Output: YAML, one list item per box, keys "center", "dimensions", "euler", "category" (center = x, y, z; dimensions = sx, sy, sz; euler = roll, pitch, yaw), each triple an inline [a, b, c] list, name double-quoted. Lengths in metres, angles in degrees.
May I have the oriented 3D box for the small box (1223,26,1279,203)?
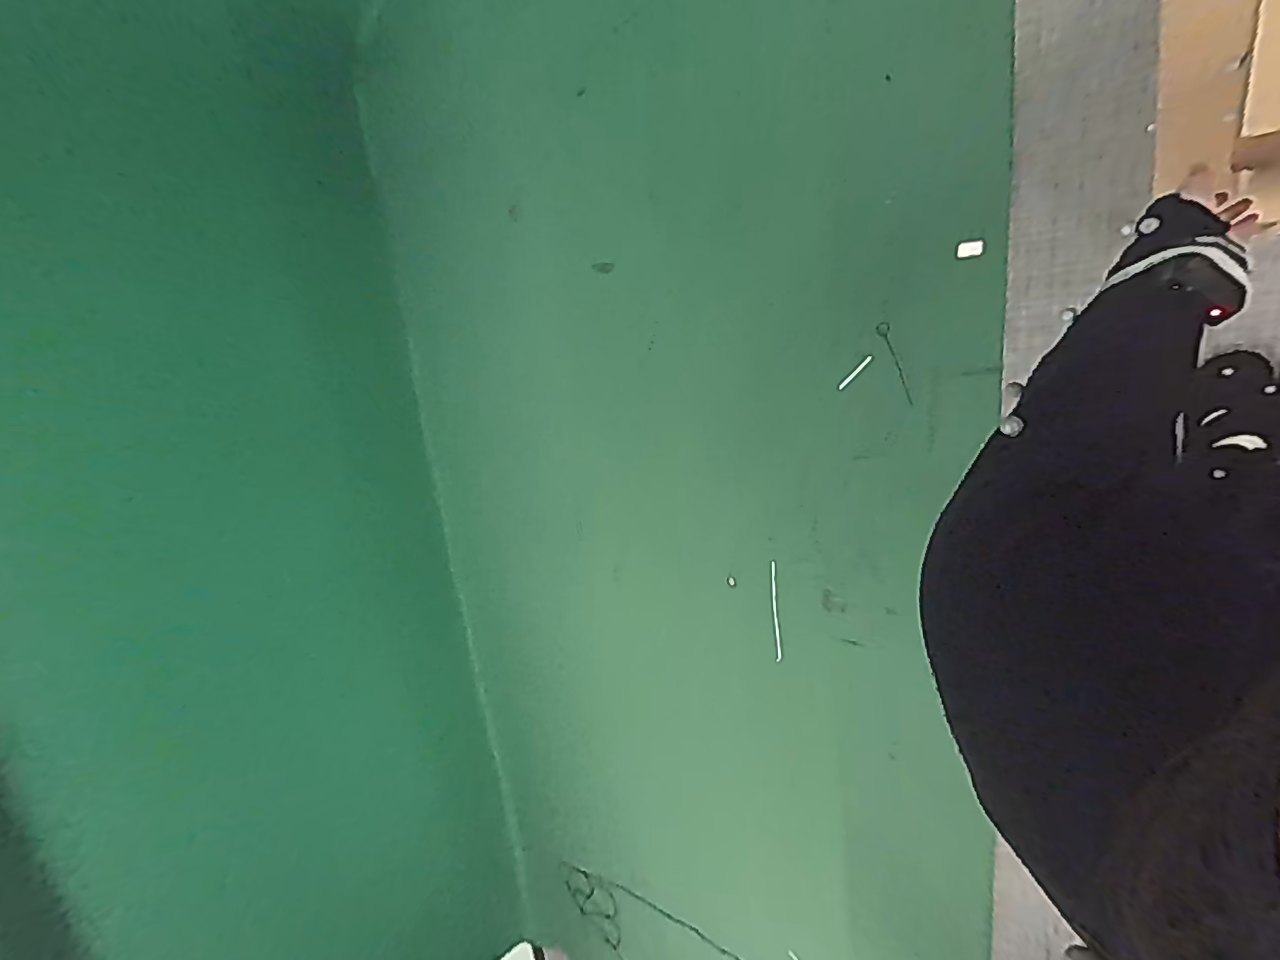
- center: [0.809, -0.437, 0.628]
  dimensions: [0.168, 0.176, 0.179]
  euler: [6, 107, 44]
  category: "small box"

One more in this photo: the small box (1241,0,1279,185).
- center: [0.702, -0.396, 0.510]
  dimensions: [0.168, 0.176, 0.179]
  euler: [6, 107, 43]
  category: "small box"

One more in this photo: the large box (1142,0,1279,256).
- center: [0.957, -0.579, 0.785]
  dimensions: [0.320, 0.320, 0.408]
  euler: [3, 105, 44]
  category: "large box"
